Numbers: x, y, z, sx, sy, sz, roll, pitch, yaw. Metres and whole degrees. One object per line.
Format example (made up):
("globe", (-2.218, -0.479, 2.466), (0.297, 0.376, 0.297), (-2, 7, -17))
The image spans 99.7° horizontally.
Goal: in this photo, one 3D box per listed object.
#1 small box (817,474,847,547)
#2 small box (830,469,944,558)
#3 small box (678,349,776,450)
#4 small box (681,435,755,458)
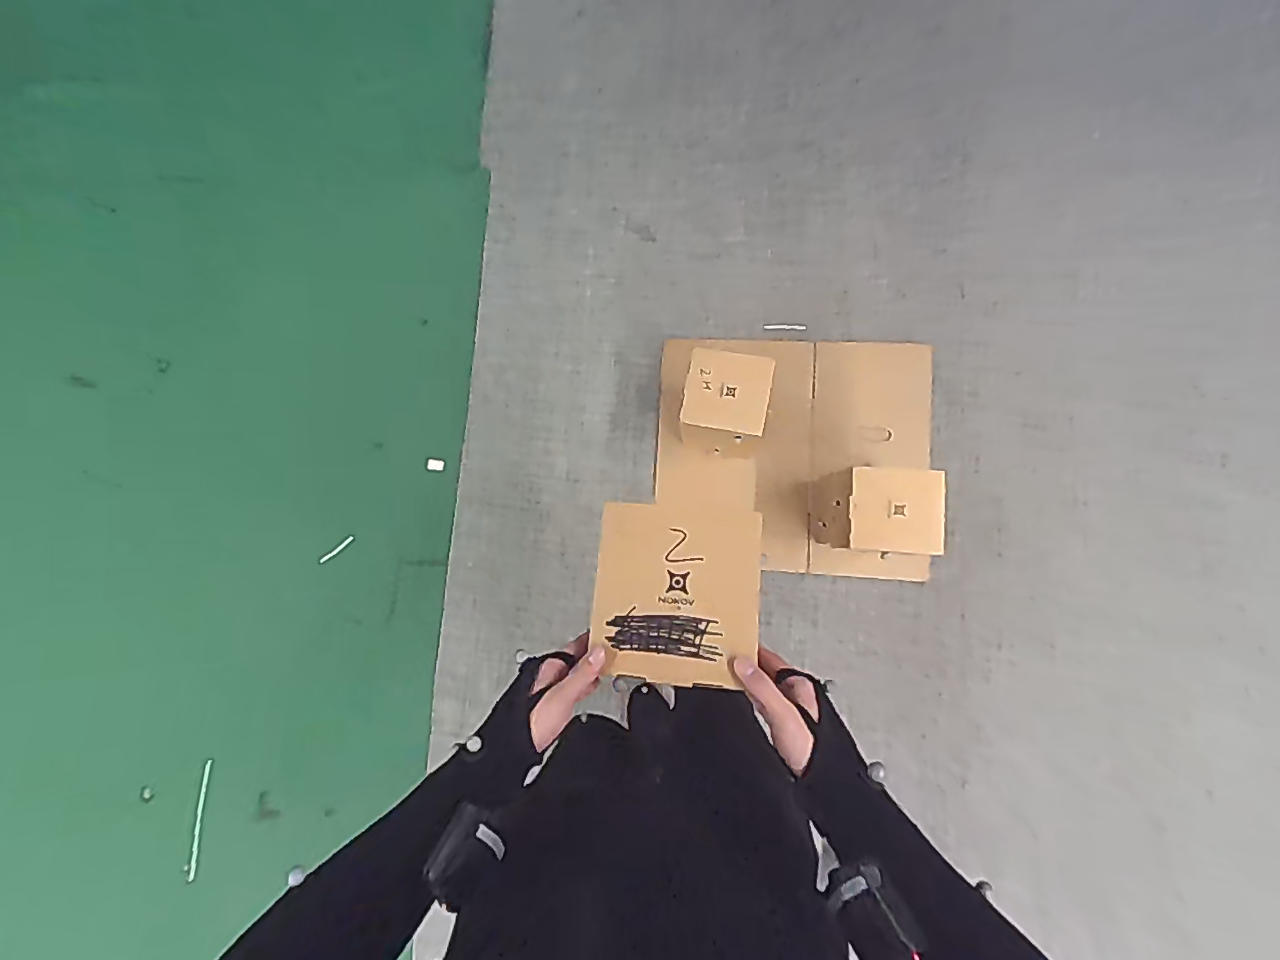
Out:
("small box", (0.527, 0.082, 1.288), (0.179, 0.176, 0.168), (4, 84, 8))
("small box", (0.507, 0.071, 1.129), (0.179, 0.176, 0.168), (3, 84, 9))
("small box", (0.188, -0.169, 1.189), (0.179, 0.176, 0.168), (11, 84, 8))
("small box", (0.206, -0.156, 1.354), (0.179, 0.176, 0.168), (12, 84, 8))
